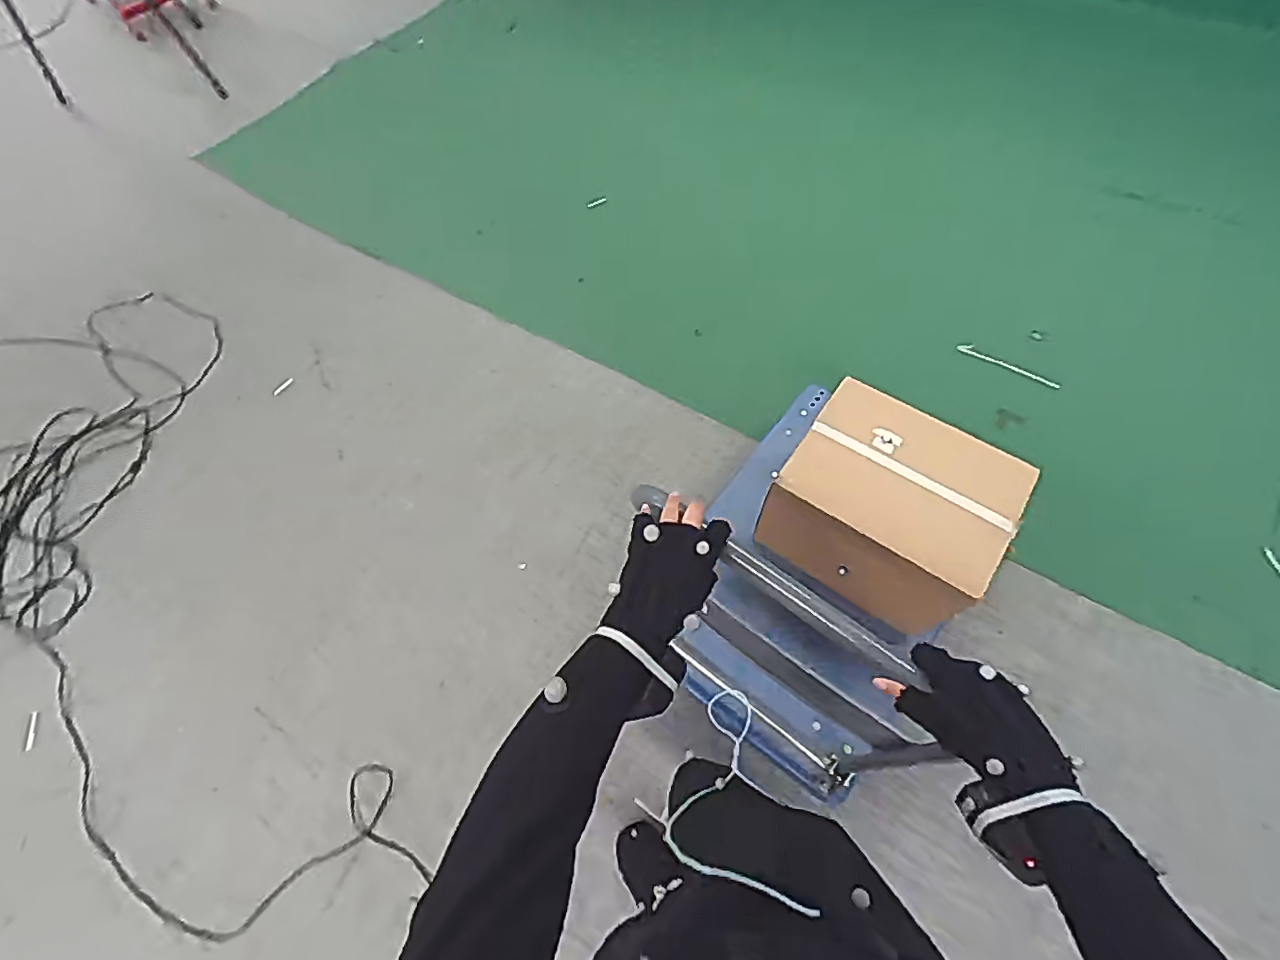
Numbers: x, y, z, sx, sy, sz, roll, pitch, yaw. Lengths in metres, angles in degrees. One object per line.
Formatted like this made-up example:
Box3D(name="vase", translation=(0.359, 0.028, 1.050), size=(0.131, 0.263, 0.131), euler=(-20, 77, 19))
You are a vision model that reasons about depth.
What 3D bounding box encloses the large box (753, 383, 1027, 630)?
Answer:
Box3D(name="large box", translation=(0.511, 0.066, 1.179), size=(0.408, 0.320, 0.320), euler=(31, 68, 19))
